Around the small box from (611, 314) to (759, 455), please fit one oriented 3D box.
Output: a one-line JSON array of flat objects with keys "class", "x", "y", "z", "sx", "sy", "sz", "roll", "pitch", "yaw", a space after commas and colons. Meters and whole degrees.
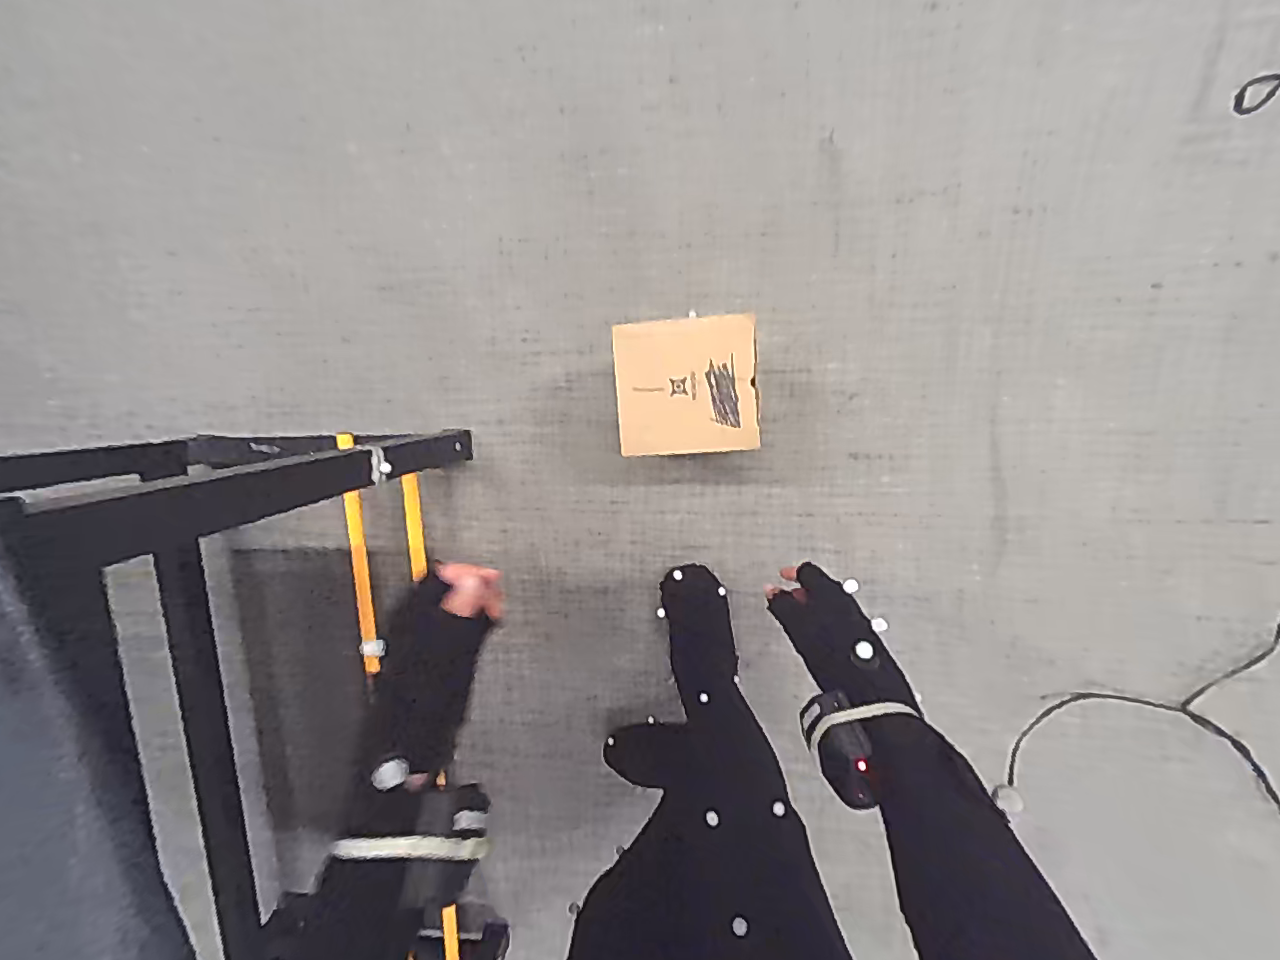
[{"class": "small box", "x": 0.064, "y": -0.129, "z": 0.737, "sx": 0.179, "sy": 0.176, "sz": 0.168, "roll": -3, "pitch": 100, "yaw": 8}]
